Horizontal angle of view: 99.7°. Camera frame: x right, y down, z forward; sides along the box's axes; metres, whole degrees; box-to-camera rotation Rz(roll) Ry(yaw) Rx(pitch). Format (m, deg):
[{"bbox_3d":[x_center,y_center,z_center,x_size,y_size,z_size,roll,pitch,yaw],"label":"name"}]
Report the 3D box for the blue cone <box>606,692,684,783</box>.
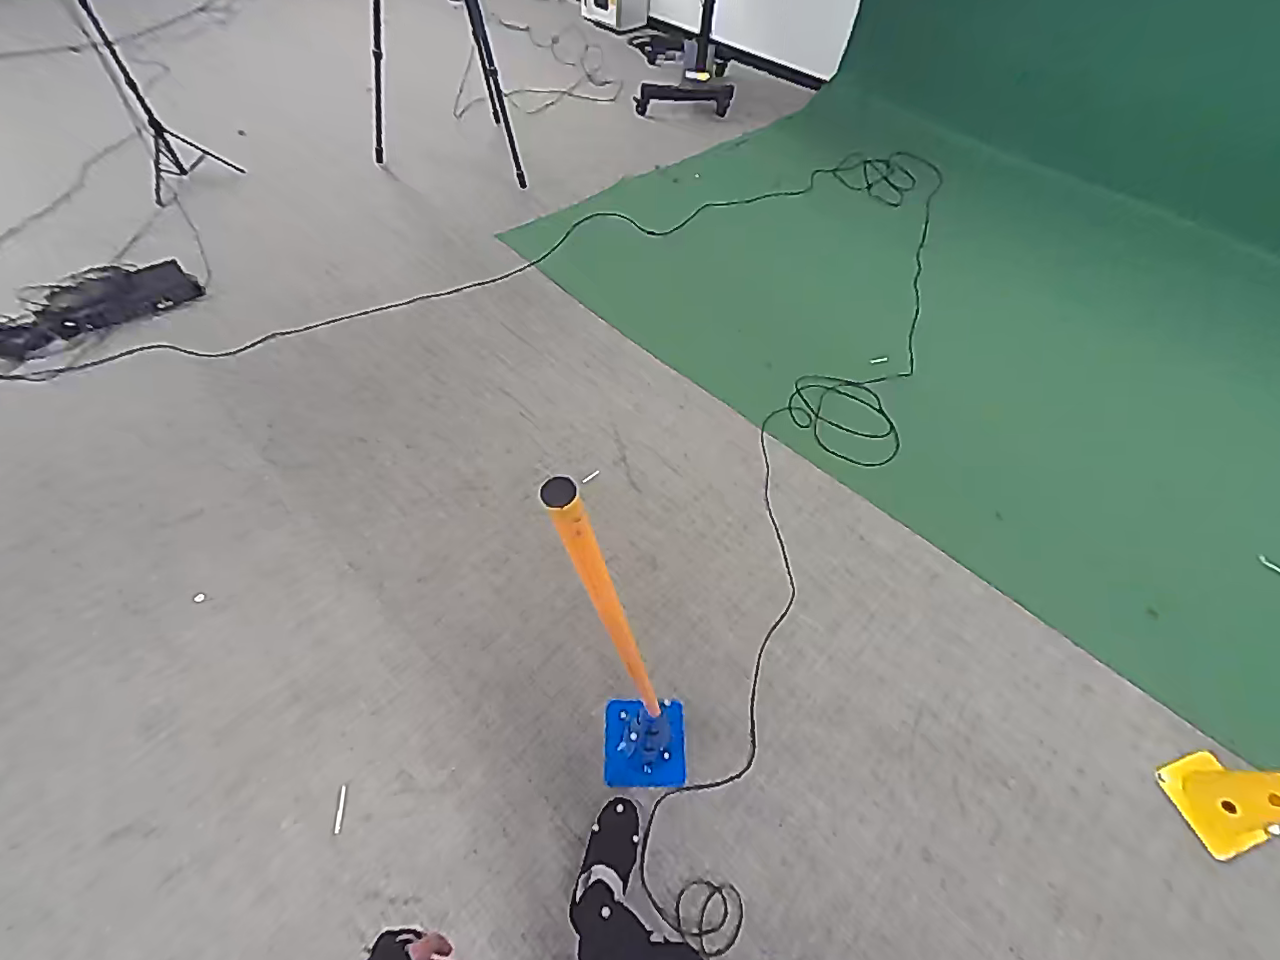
[{"bbox_3d":[0.018,0.546,1.200,0.193,0.380,0.192,0,55,-3],"label":"blue cone"}]
